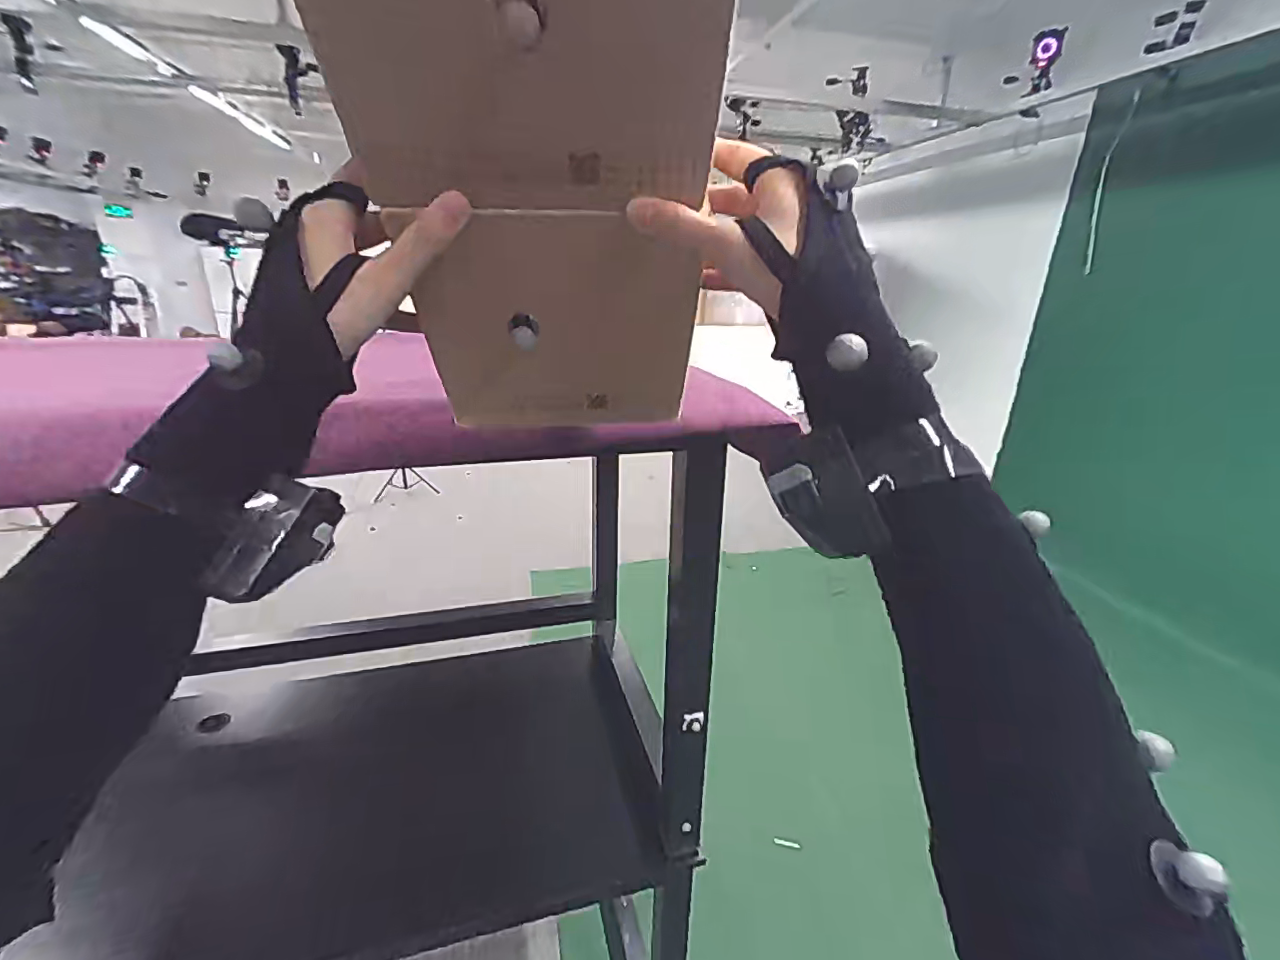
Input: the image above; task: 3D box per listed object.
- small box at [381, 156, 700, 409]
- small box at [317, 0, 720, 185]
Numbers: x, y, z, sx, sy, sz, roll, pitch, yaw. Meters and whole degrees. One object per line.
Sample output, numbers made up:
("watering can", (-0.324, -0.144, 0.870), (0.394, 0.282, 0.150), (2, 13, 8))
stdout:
("small box", (-0.055, -0.164, 0.384), (0.168, 0.176, 0.179), (-2, 54, -4))
("small box", (-0.050, -0.260, 0.250), (0.168, 0.176, 0.179), (-1, 56, -4))
